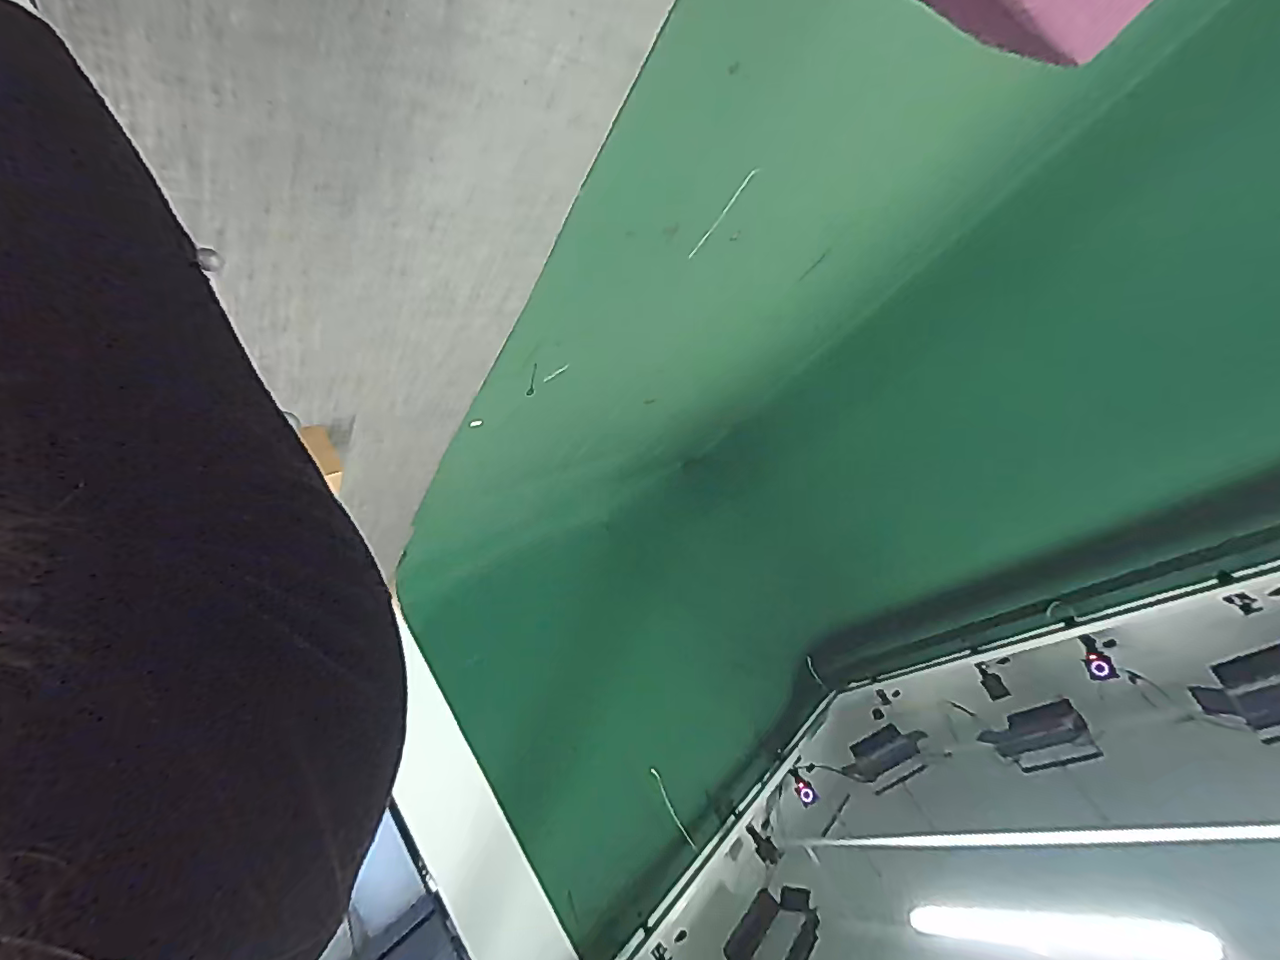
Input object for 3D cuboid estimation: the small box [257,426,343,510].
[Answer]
[{"bbox_3d":[-1.019,-0.039,1.614,0.179,0.176,0.168,-21,165,-41],"label":"small box"}]
